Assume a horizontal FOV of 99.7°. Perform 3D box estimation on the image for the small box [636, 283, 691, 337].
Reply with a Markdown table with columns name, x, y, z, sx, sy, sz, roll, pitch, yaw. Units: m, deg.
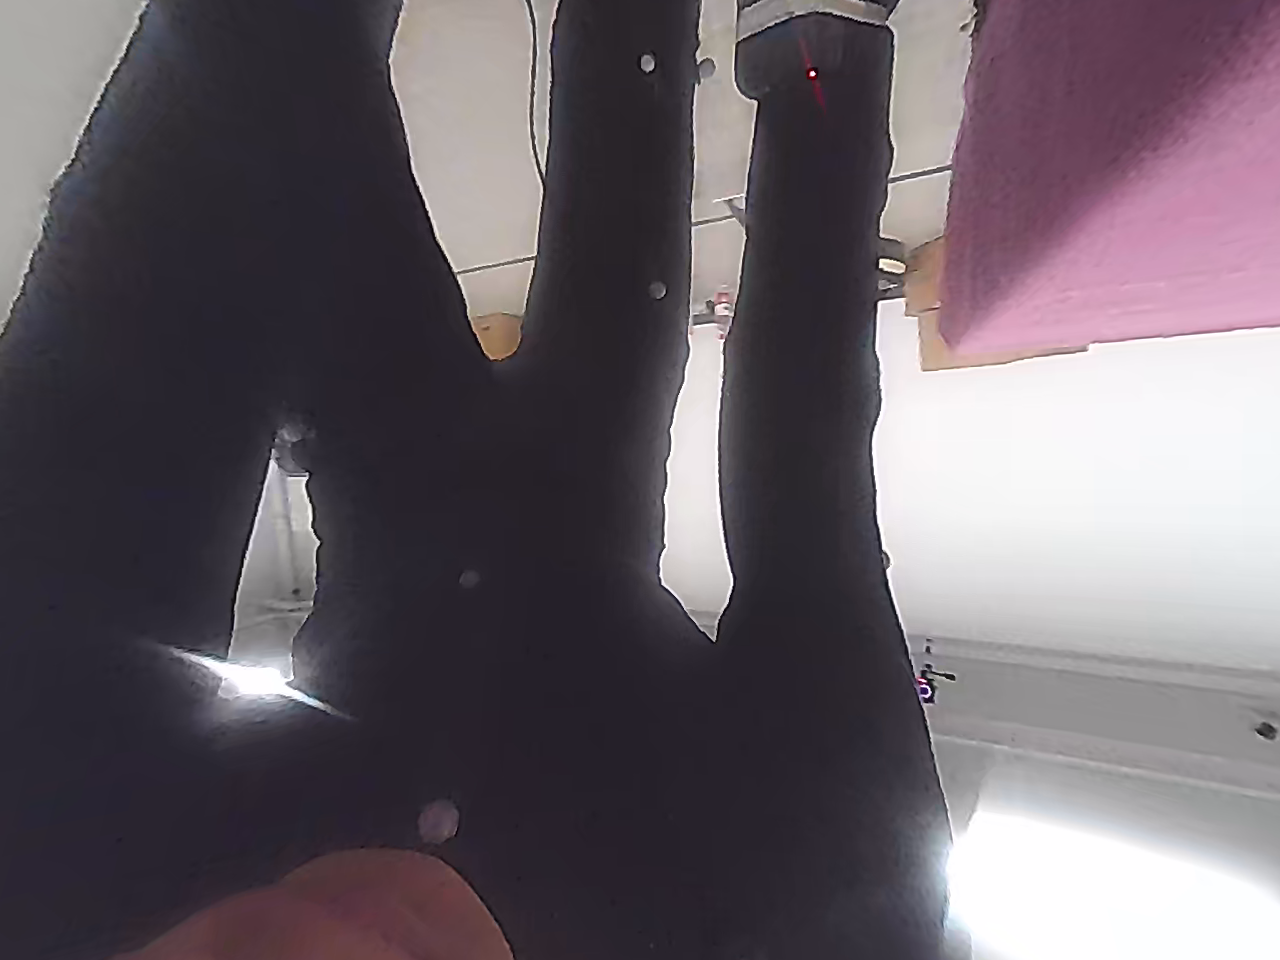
| name | x | y | z | sx | sy | sz | roll | pitch | yaw |
| --- | --- | --- | --- | --- | --- | --- | --- | --- | --- |
| small box | 0.094 | -0.646 | 2.065 | 0.168 | 0.176 | 0.179 | 1 | -172 | 24 |
